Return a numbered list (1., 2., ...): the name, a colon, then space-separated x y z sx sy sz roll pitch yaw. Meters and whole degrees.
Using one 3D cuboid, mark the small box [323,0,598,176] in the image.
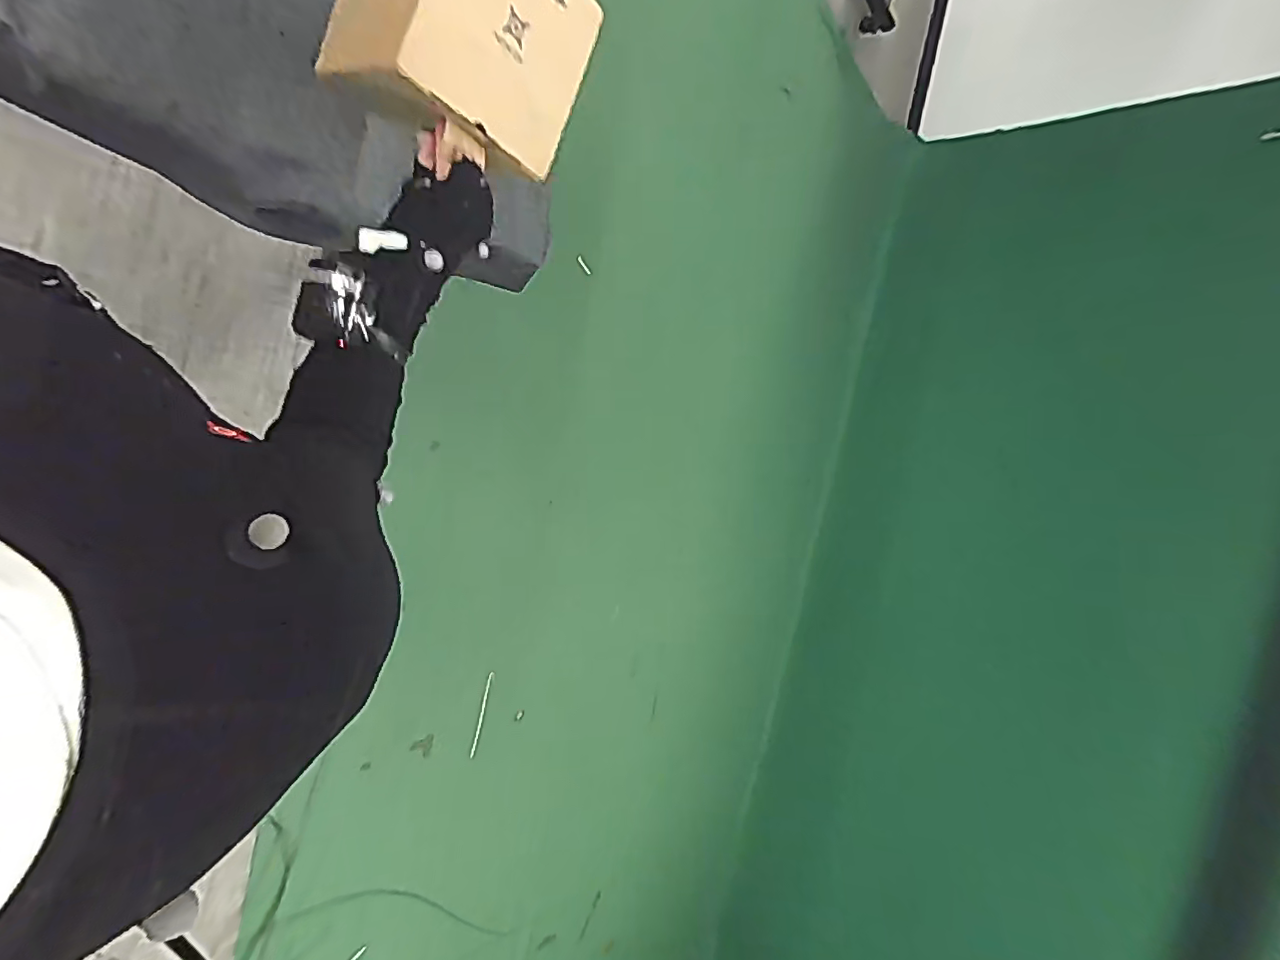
1. small box: -0.178 -0.433 0.528 0.168 0.176 0.179 12 104 -55
